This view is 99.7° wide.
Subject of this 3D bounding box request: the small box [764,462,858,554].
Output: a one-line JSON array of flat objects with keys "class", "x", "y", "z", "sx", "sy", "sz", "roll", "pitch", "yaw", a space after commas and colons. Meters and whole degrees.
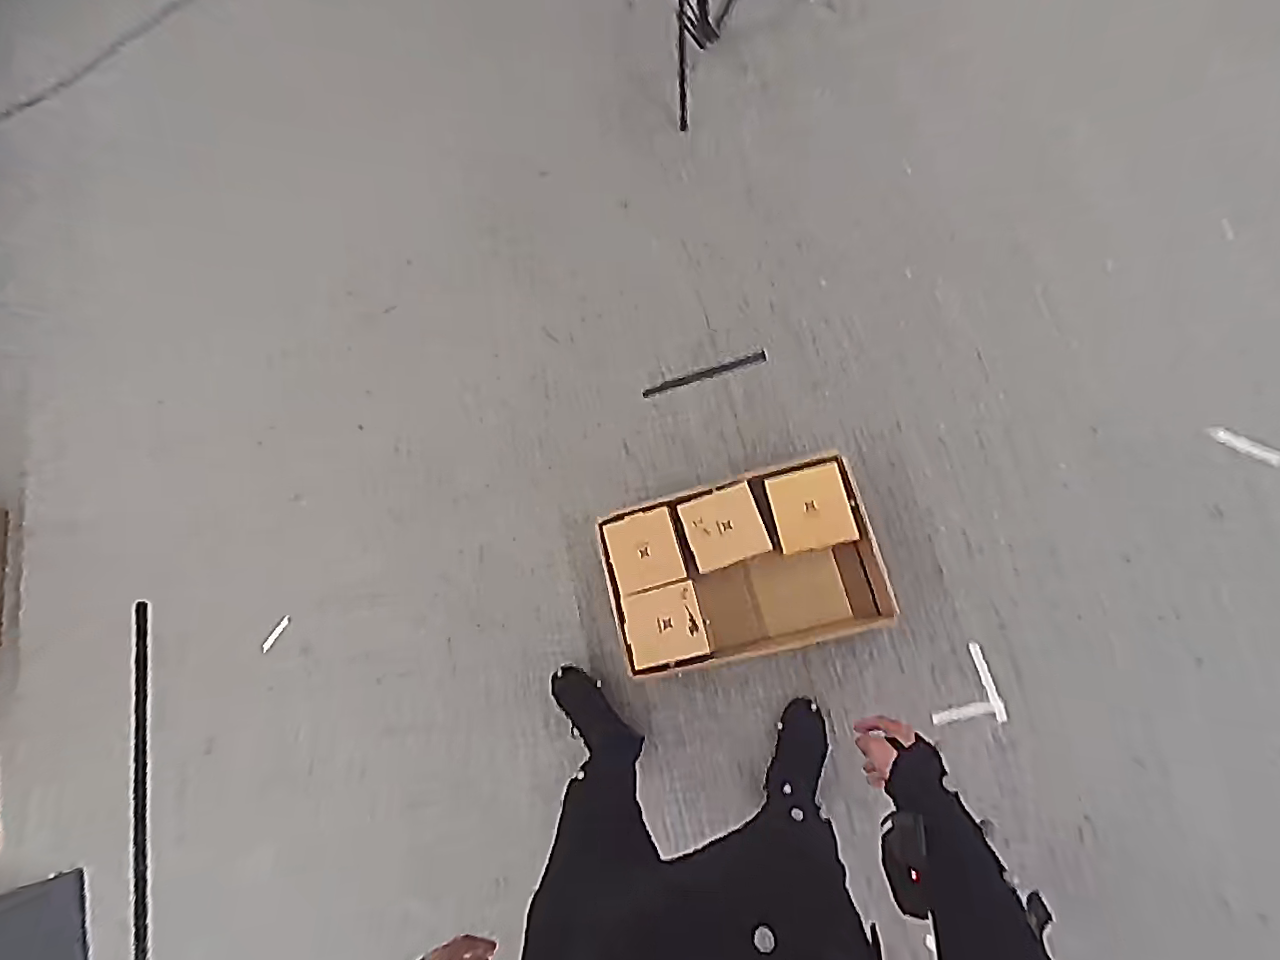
[{"class": "small box", "x": 0.394, "y": 0.072, "z": 1.278, "sx": 0.168, "sy": 0.176, "sz": 0.179, "roll": -16, "pitch": 79, "yaw": 11}]
